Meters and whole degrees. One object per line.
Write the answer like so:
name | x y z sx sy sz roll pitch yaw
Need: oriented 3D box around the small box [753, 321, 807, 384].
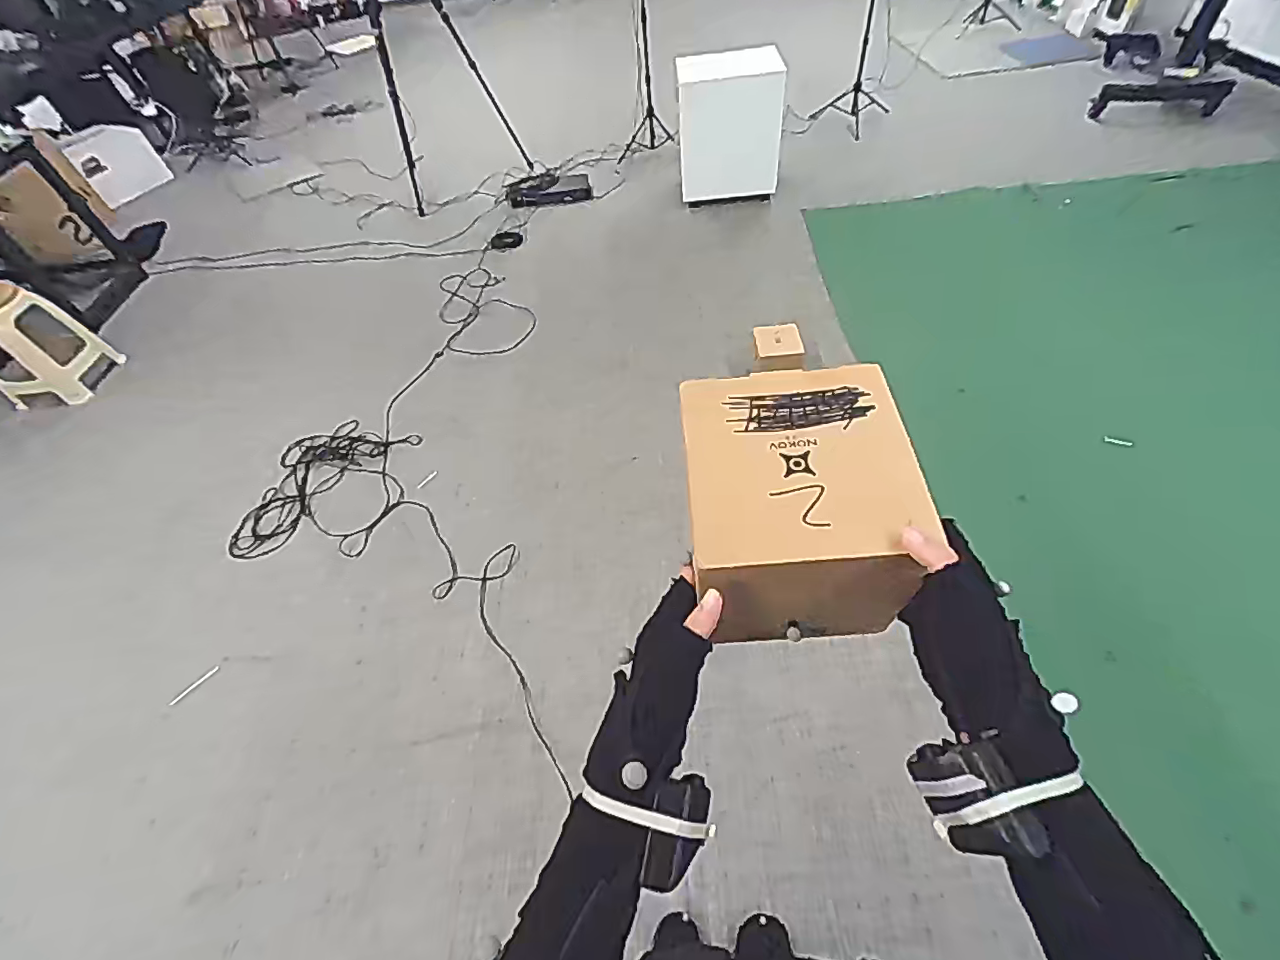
small box | 0.531 -0.481 2.072 0.168 0.176 0.179 -4 52 4
